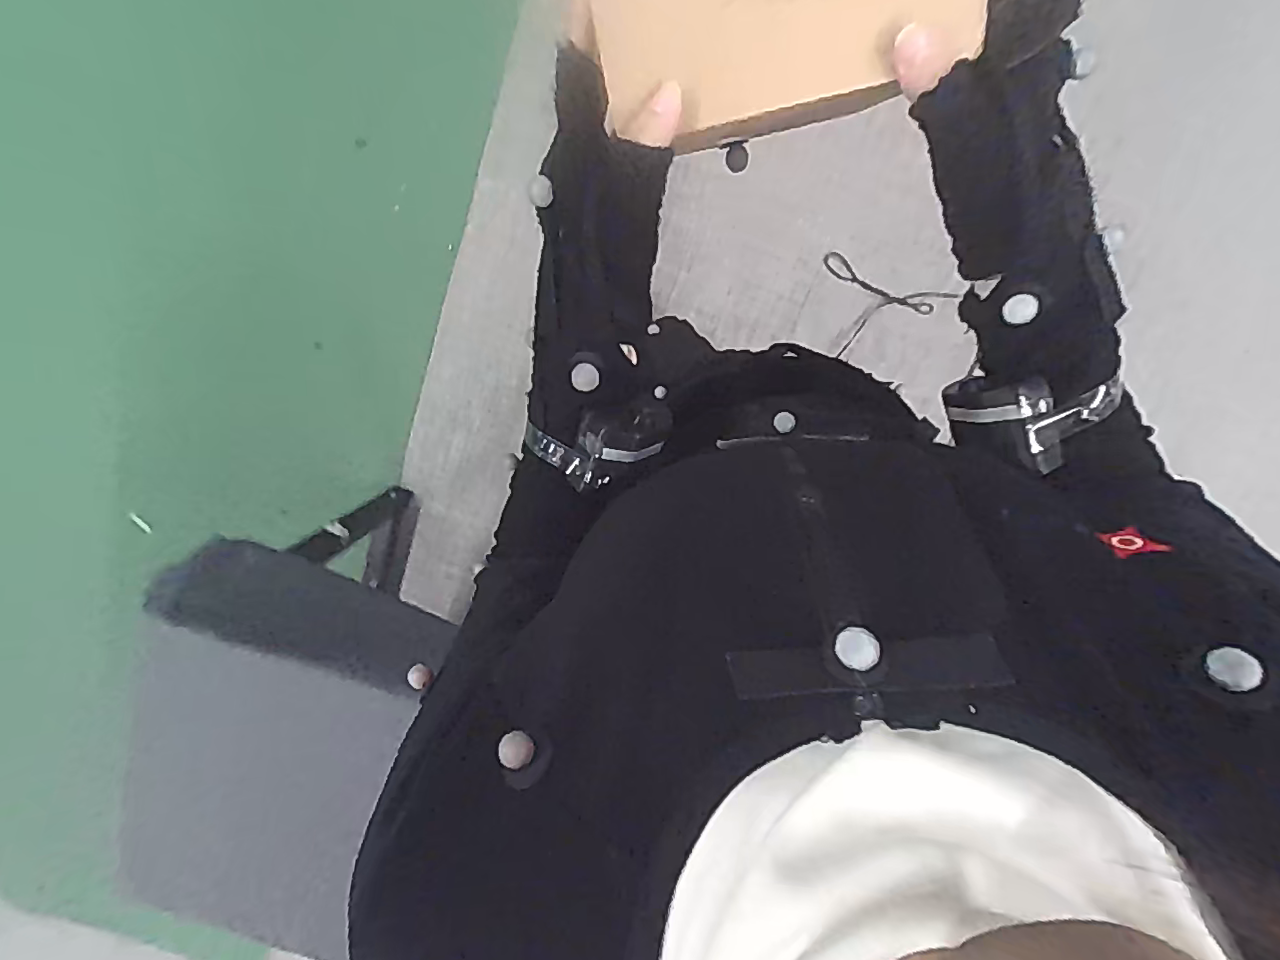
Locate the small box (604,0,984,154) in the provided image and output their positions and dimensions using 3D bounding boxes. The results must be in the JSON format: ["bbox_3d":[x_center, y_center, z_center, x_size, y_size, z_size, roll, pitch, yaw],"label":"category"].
[{"bbox_3d":[0.060,-0.292,0.285,0.168,0.176,0.179,-8,117,6],"label":"small box"}]
